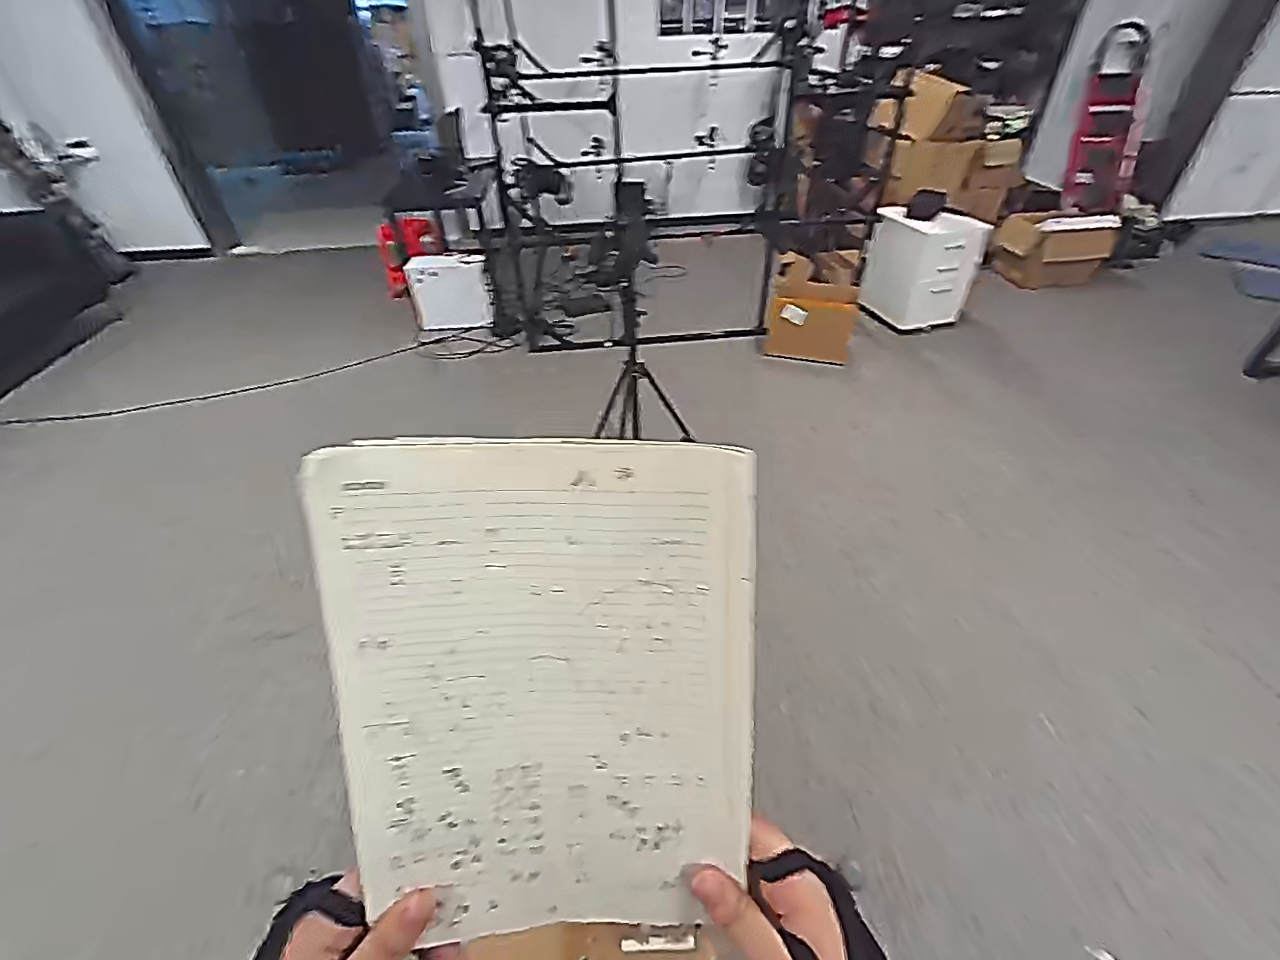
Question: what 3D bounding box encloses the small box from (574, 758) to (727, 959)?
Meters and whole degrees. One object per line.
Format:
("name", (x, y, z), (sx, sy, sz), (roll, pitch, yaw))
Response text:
("small box", (0.010, 0.476, 0.682), (0.168, 0.176, 0.179), (1, 42, 0))
